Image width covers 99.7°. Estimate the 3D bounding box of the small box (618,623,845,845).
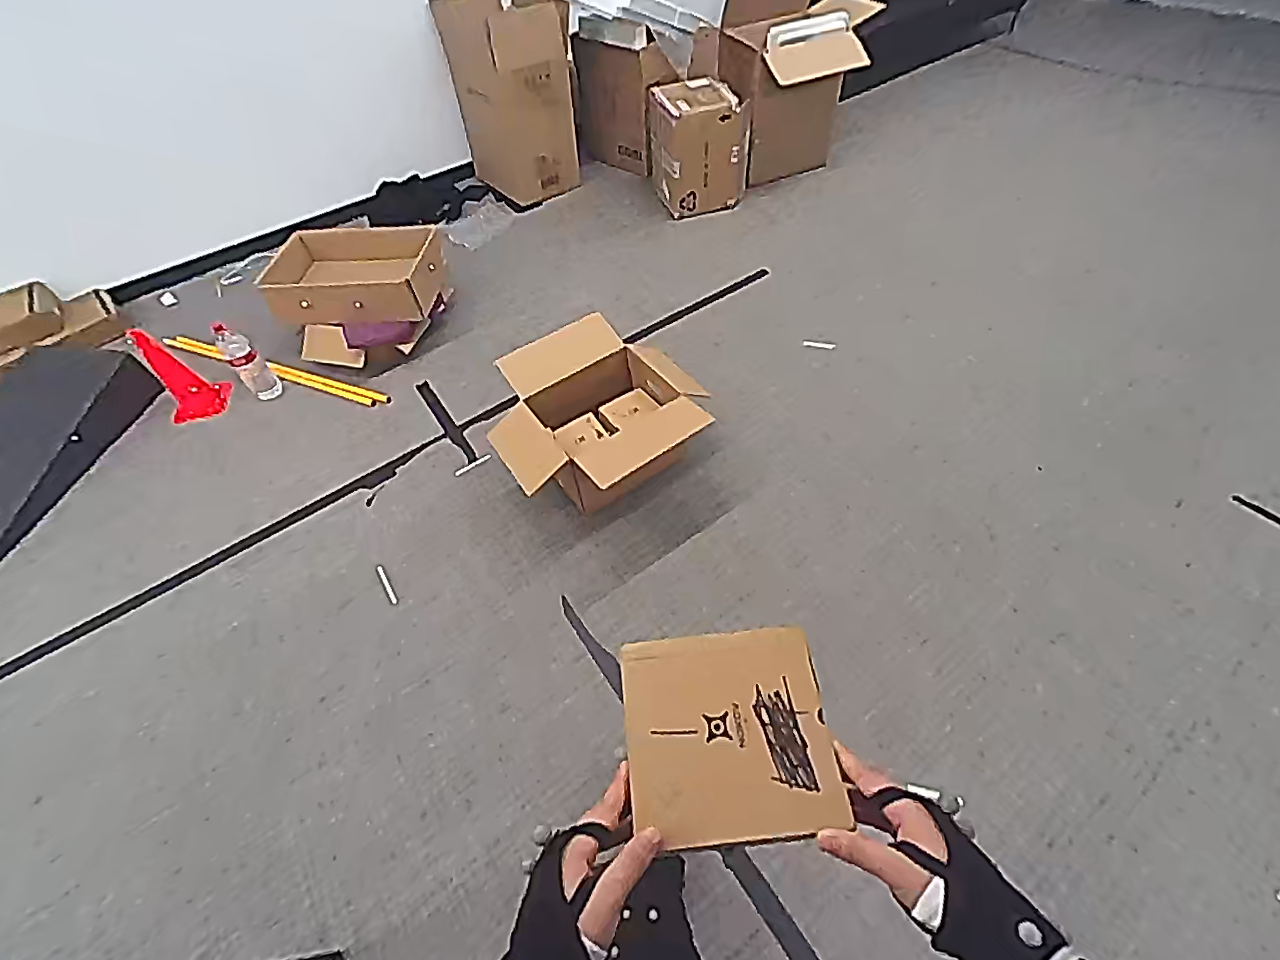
[{"bbox_3d":[0.073,0.255,0.535,0.179,0.176,0.168,-6,55,-1],"label":"small box"}]
